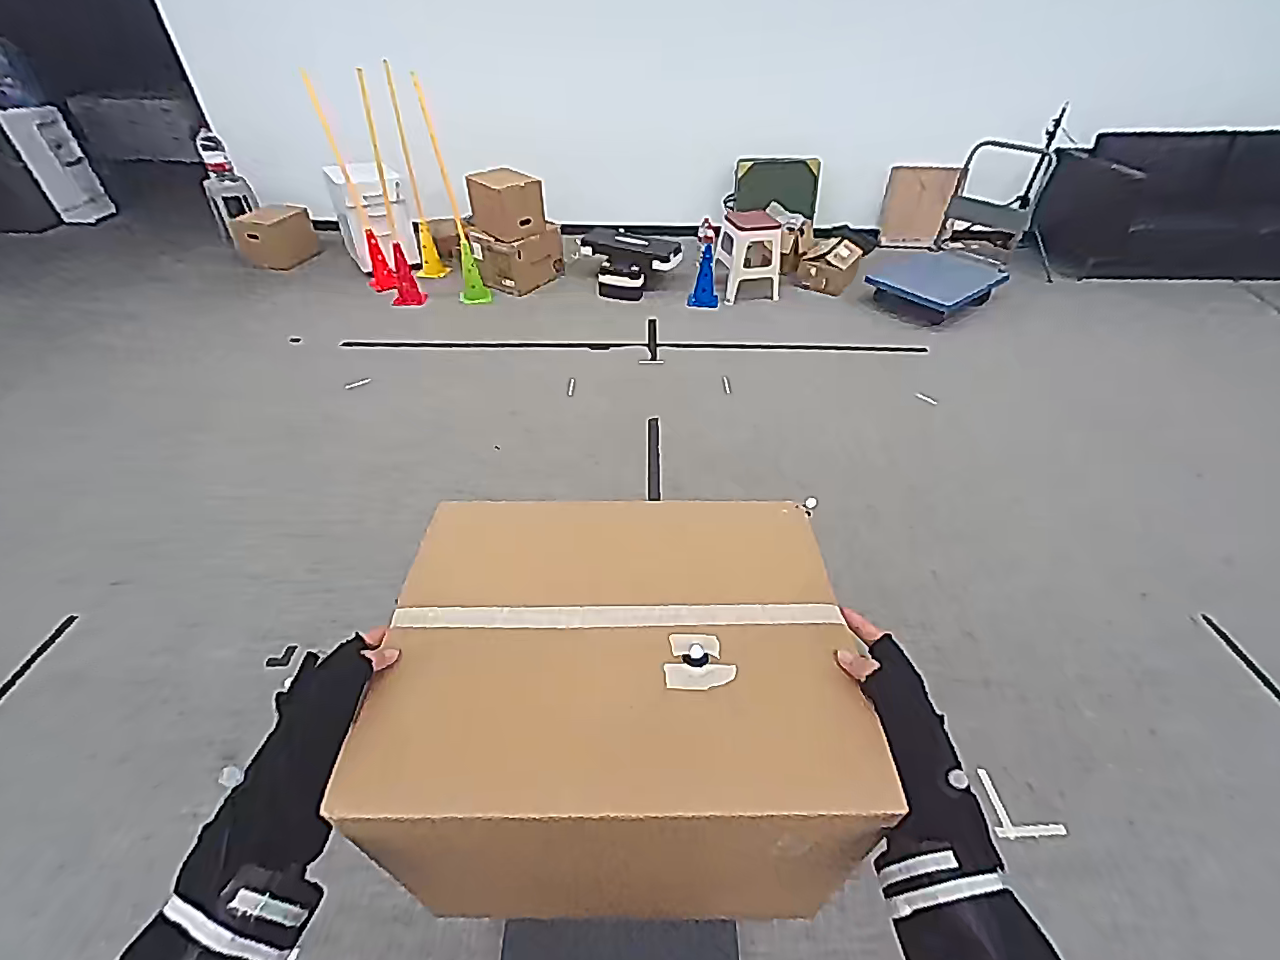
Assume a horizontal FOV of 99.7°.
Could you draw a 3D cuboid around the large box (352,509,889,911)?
[{"bbox_3d":[-0.016,0.246,0.600,0.408,0.320,0.320,0,41,0],"label":"large box"}]
